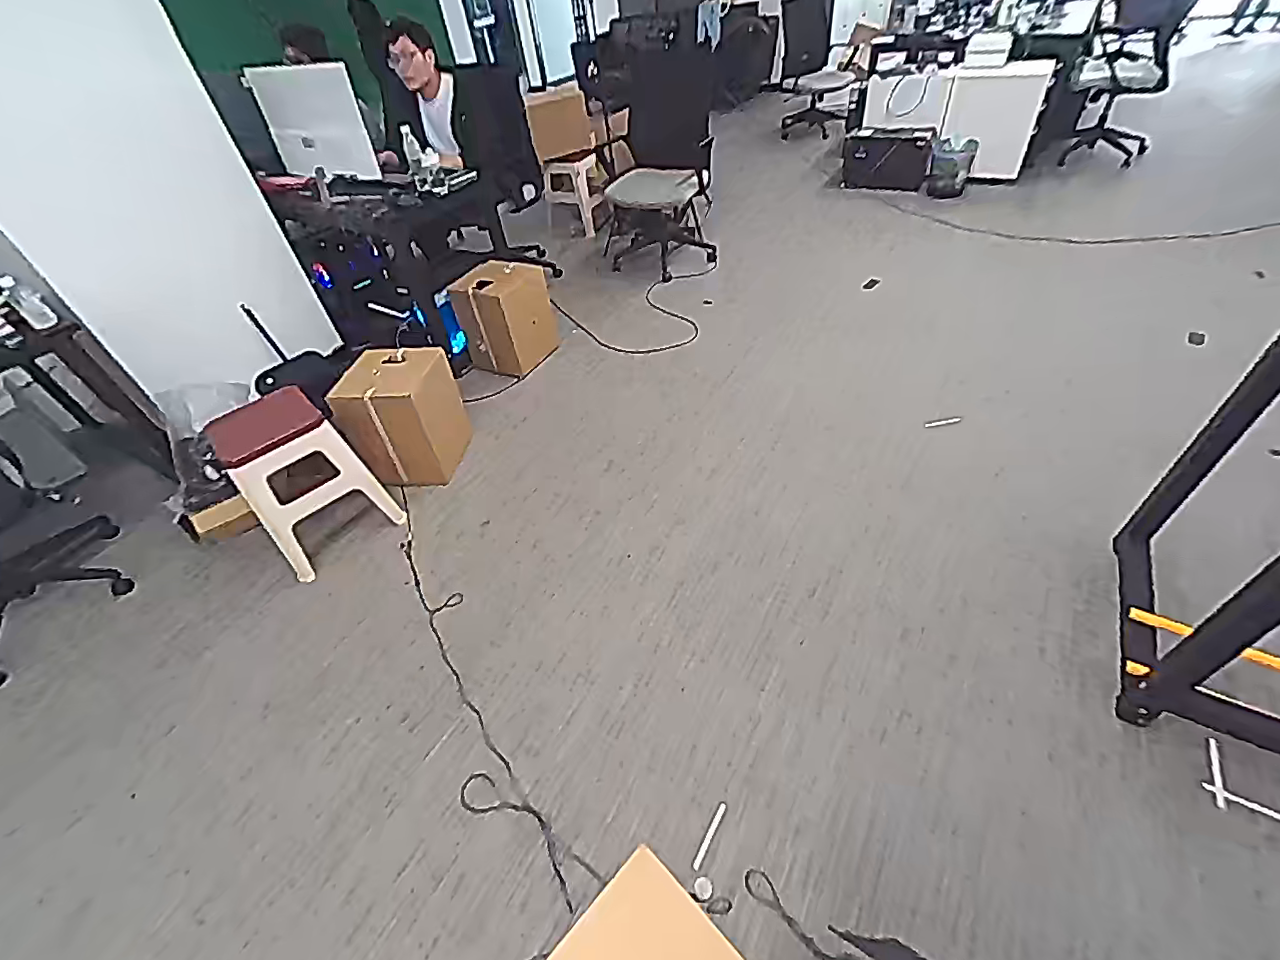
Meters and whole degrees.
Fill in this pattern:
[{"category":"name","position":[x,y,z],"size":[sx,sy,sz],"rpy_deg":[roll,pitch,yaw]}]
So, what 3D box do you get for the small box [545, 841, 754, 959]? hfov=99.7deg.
[{"category":"small box","position":[0.019,0.390,0.355],"size":[0.168,0.176,0.179],"rpy_deg":[-40,53,-23]}]
